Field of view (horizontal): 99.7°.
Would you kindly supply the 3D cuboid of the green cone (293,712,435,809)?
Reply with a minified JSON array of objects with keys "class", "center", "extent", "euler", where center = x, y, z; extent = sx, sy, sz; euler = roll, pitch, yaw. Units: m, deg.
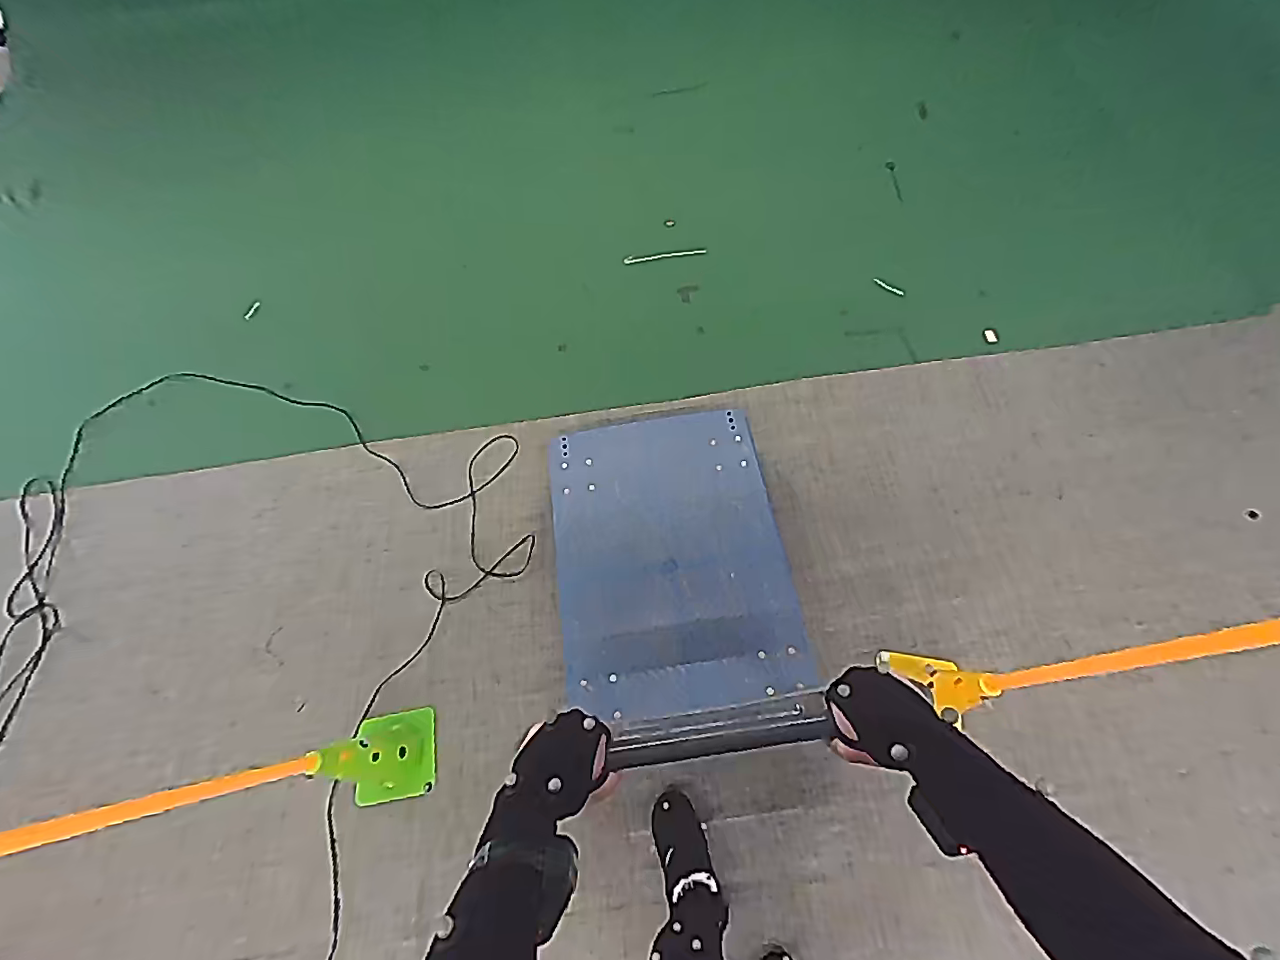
[{"class":"green cone","center":[-0.640,0.637,1.223],"extent":[0.202,0.368,0.200],"euler":[-13,64,1]}]
